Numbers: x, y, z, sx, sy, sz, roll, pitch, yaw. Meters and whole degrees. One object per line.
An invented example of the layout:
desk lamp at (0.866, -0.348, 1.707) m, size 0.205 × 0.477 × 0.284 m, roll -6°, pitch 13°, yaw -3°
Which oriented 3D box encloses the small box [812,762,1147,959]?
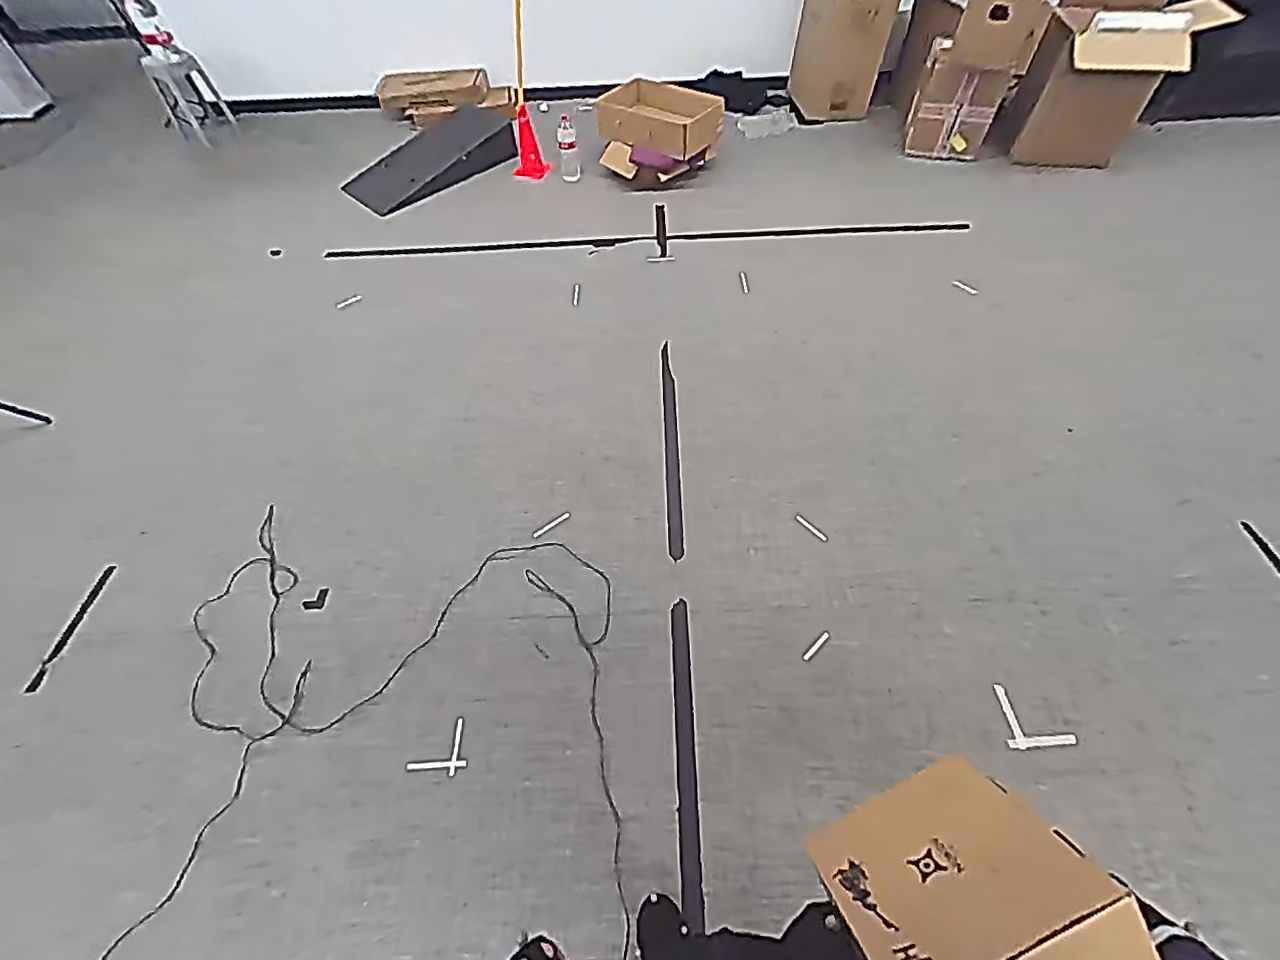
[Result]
small box at (0.281, 0.388, 0.449) m, size 0.179 × 0.168 × 0.176 m, roll -26°, pitch 94°, yaw -4°
